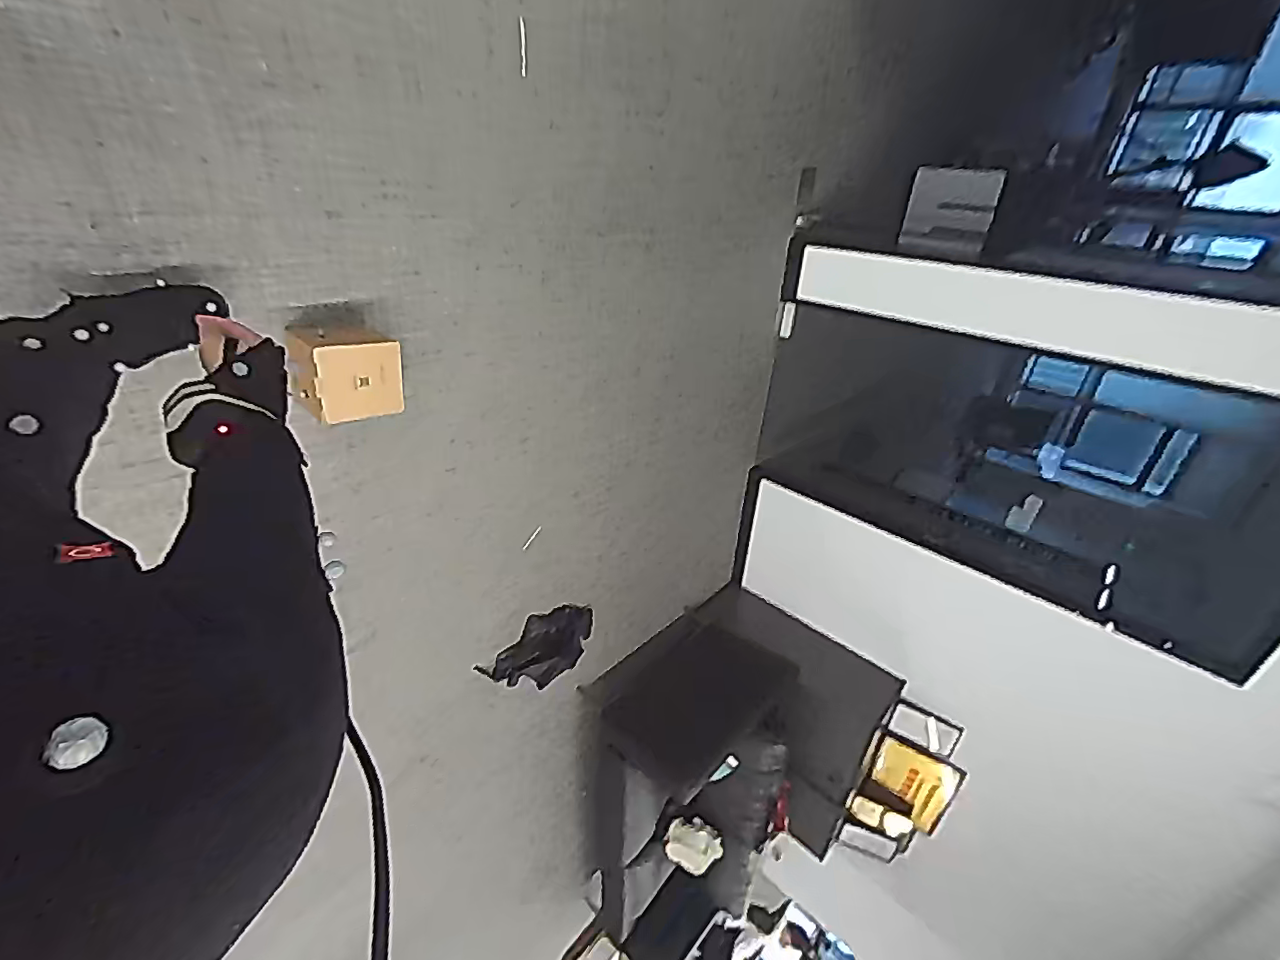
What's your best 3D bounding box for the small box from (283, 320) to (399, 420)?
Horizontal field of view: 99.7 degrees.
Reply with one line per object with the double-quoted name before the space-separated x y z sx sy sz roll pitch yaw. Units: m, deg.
"small box" -0.658 -0.248 1.189 0.179 0.176 0.168 -22 130 -45
